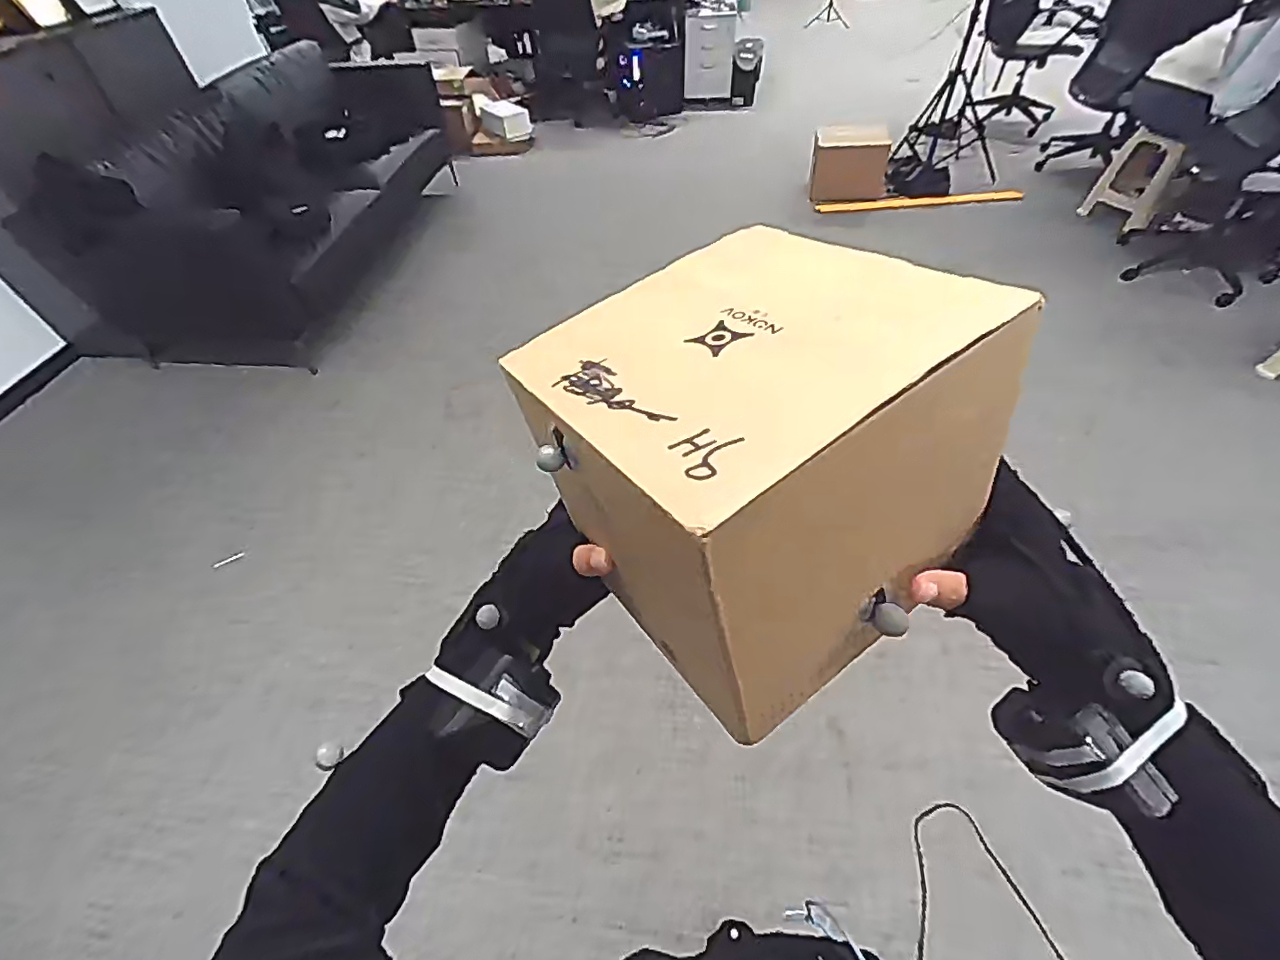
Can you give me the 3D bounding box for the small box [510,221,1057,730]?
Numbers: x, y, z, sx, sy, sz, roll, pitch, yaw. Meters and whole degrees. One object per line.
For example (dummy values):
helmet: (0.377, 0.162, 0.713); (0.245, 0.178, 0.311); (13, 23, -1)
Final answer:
small box: (0.063, -0.010, 0.289); (0.179, 0.176, 0.168); (-32, 44, -17)
